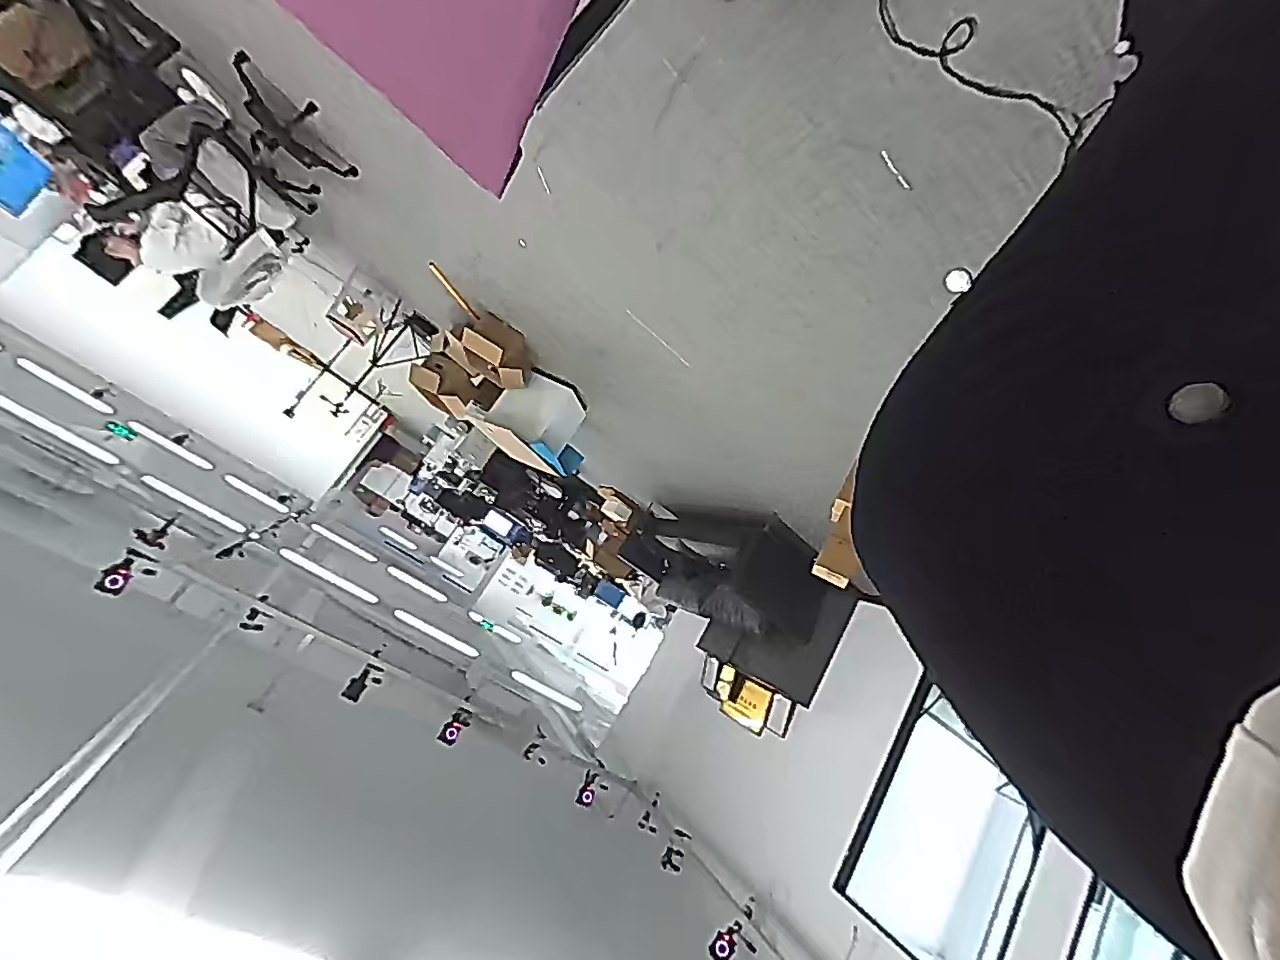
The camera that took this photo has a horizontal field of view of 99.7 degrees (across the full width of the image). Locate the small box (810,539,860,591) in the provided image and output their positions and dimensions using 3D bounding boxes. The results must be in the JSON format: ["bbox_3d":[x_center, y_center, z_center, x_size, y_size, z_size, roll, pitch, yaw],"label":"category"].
[{"bbox_3d":[0.925,0.400,2.569,0.168,0.176,0.179,26,165,22],"label":"small box"}]

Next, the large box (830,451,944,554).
[{"bbox_3d":[1.206,0.110,2.677,0.408,0.320,0.320,25,165,23],"label":"large box"}]
